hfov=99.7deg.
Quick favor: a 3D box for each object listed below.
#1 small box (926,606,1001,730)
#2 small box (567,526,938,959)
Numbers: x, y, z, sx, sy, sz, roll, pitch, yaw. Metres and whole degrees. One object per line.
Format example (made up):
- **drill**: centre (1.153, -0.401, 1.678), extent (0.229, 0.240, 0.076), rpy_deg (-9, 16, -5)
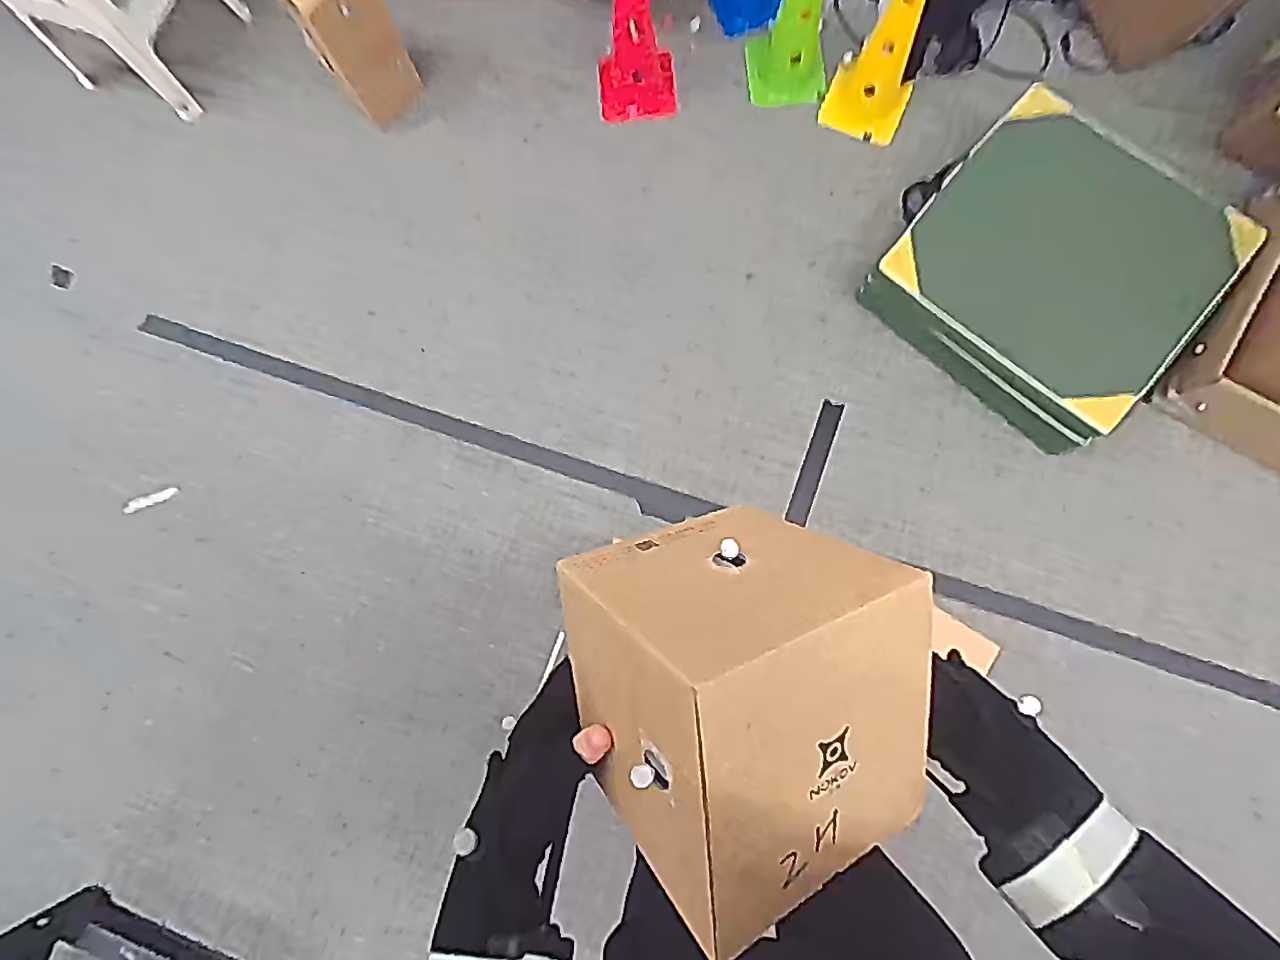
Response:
- **small box**: centre (0.486, 0.308, 0.974), extent (0.179, 0.176, 0.168), rpy_deg (33, 85, 6)
- **small box**: centre (0.058, 0.139, 0.354), extent (0.168, 0.176, 0.179), rpy_deg (-10, 108, -26)
